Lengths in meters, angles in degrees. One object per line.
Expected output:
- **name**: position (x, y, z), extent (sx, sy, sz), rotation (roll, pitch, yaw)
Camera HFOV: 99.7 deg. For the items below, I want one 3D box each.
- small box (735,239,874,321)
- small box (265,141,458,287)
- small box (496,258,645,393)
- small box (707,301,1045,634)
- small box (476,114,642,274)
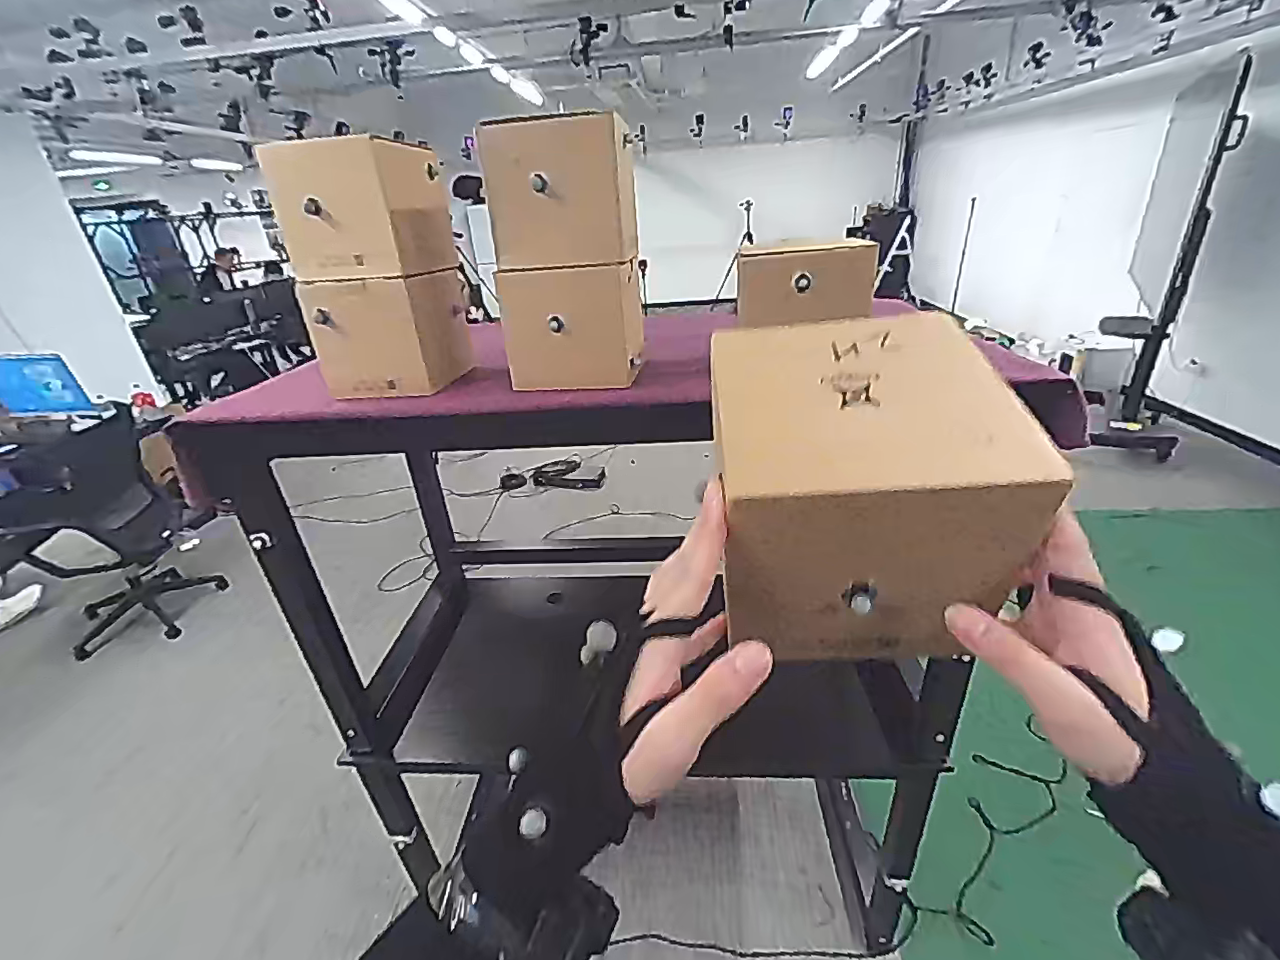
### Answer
- **small box**: position (0.232, -0.253, 0.795), extent (0.179, 0.176, 0.168), rotation (0, 27, 11)
- **small box**: position (-0.389, -0.380, 0.794), extent (0.168, 0.176, 0.179), rotation (0, 25, 10)
- **small box**: position (-0.091, -0.236, 0.820), extent (0.179, 0.176, 0.168), rotation (-1, 26, 11)
- **small box**: position (0.136, -0.004, 0.388), extent (0.168, 0.176, 0.179), rotation (-3, 43, 8)
- **small box**: position (-0.099, -0.386, 0.754), extent (0.179, 0.176, 0.168), rotation (-2, 26, 8)
